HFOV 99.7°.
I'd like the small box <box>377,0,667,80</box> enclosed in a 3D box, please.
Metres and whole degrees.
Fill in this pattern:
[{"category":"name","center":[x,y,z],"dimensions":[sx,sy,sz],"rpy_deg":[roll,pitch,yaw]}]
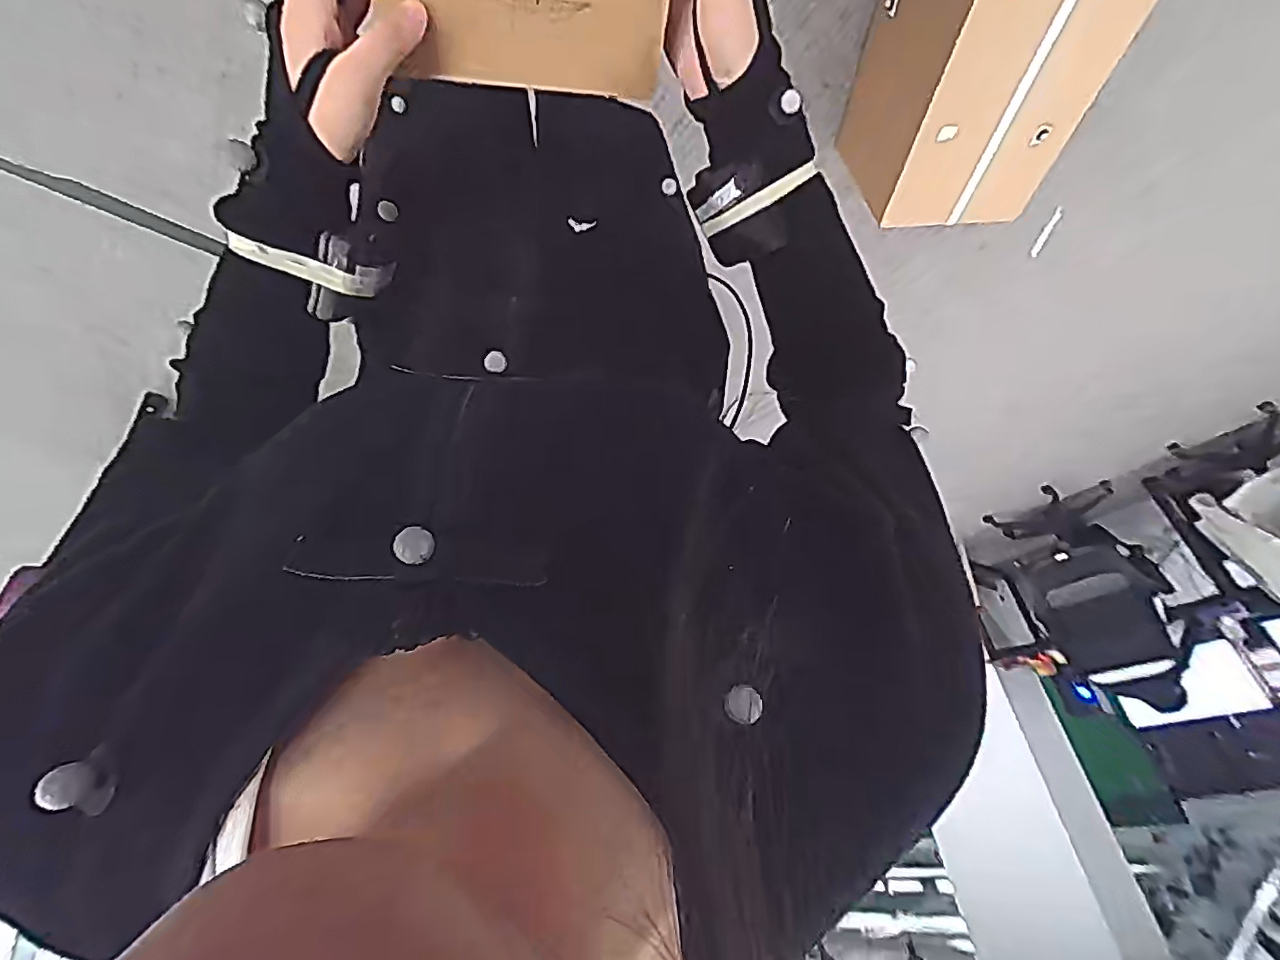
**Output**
[{"category":"small box","center":[-0.068,-0.368,0.300],"dimensions":[0.168,0.176,0.179],"rpy_deg":[-2,151,-11]}]
